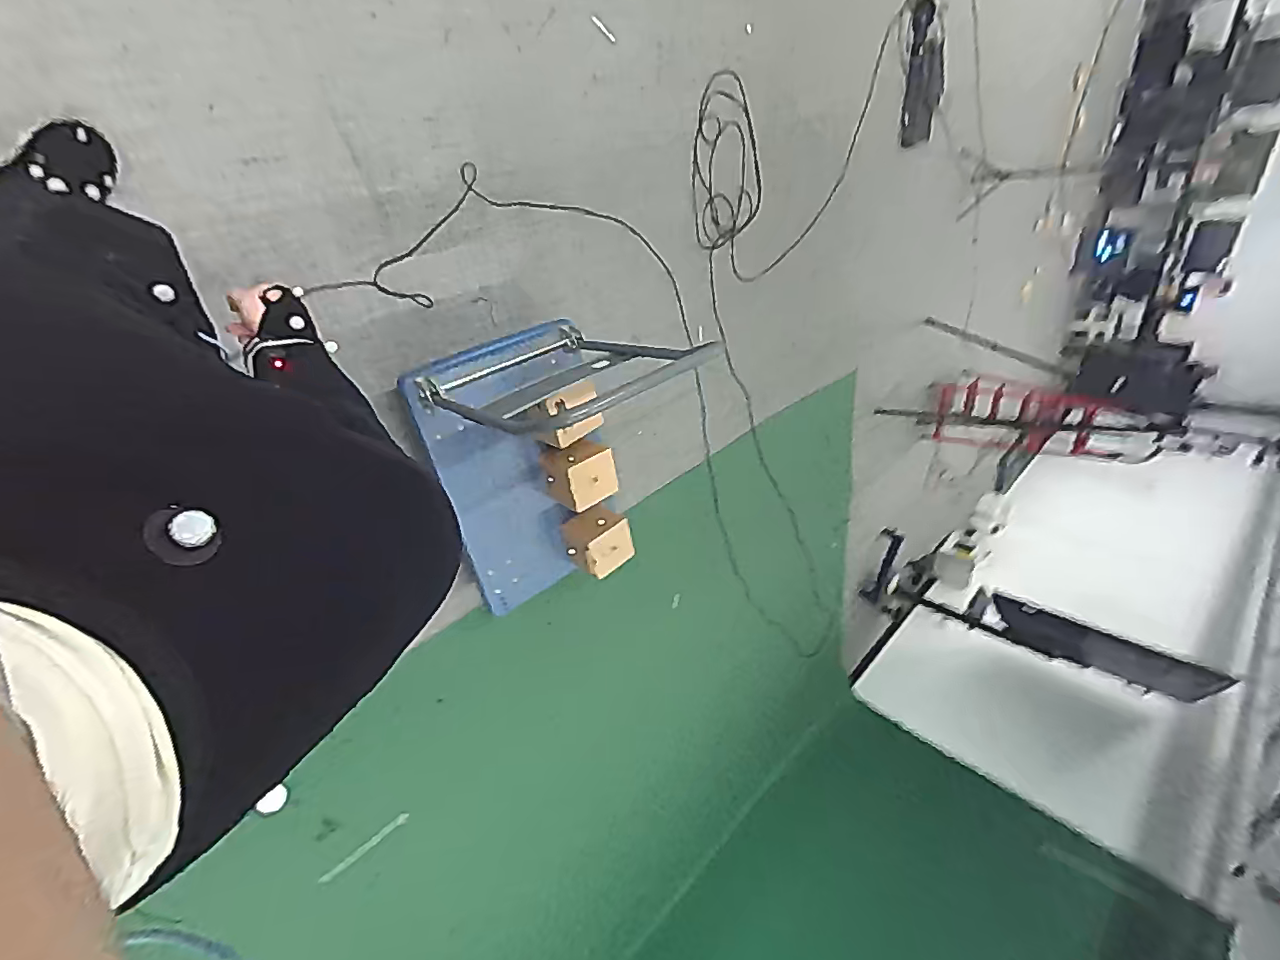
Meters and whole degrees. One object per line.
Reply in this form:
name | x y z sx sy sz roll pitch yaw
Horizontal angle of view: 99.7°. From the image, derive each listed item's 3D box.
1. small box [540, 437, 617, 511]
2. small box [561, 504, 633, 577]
small box | -0.204 -0.027 1.798 0.179 0.176 0.168 -30 126 -31
small box | -0.154 0.210 1.938 0.179 0.176 0.168 -32 125 -31
